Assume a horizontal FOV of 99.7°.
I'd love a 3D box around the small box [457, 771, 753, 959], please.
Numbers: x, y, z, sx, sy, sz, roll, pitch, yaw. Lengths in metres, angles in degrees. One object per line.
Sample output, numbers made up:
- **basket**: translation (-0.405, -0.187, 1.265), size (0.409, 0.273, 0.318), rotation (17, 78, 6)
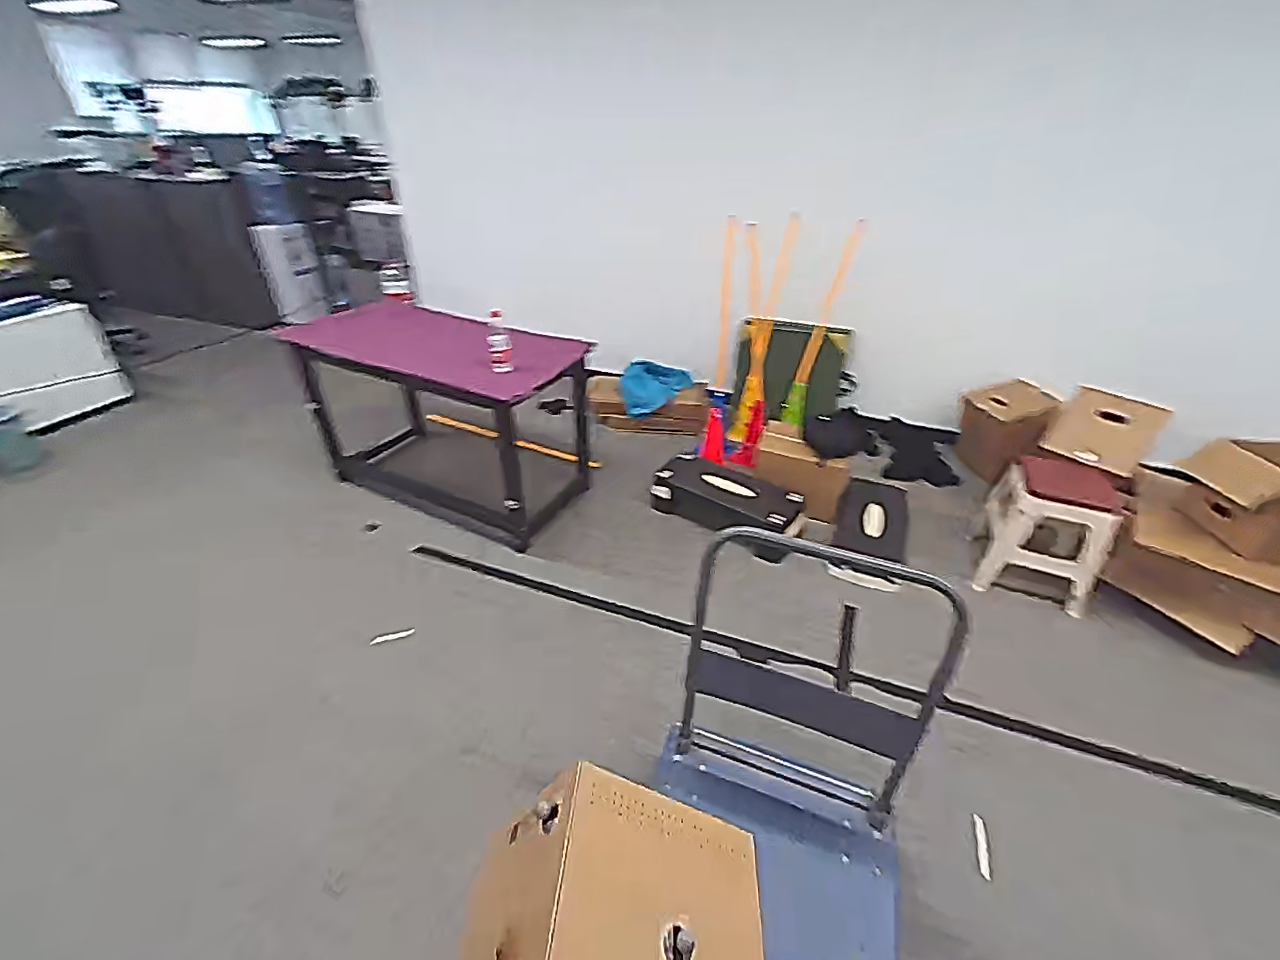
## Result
- **small box**: translation (-0.032, 0.353, 0.411), size (0.179, 0.168, 0.176), rotation (31, 31, -16)
